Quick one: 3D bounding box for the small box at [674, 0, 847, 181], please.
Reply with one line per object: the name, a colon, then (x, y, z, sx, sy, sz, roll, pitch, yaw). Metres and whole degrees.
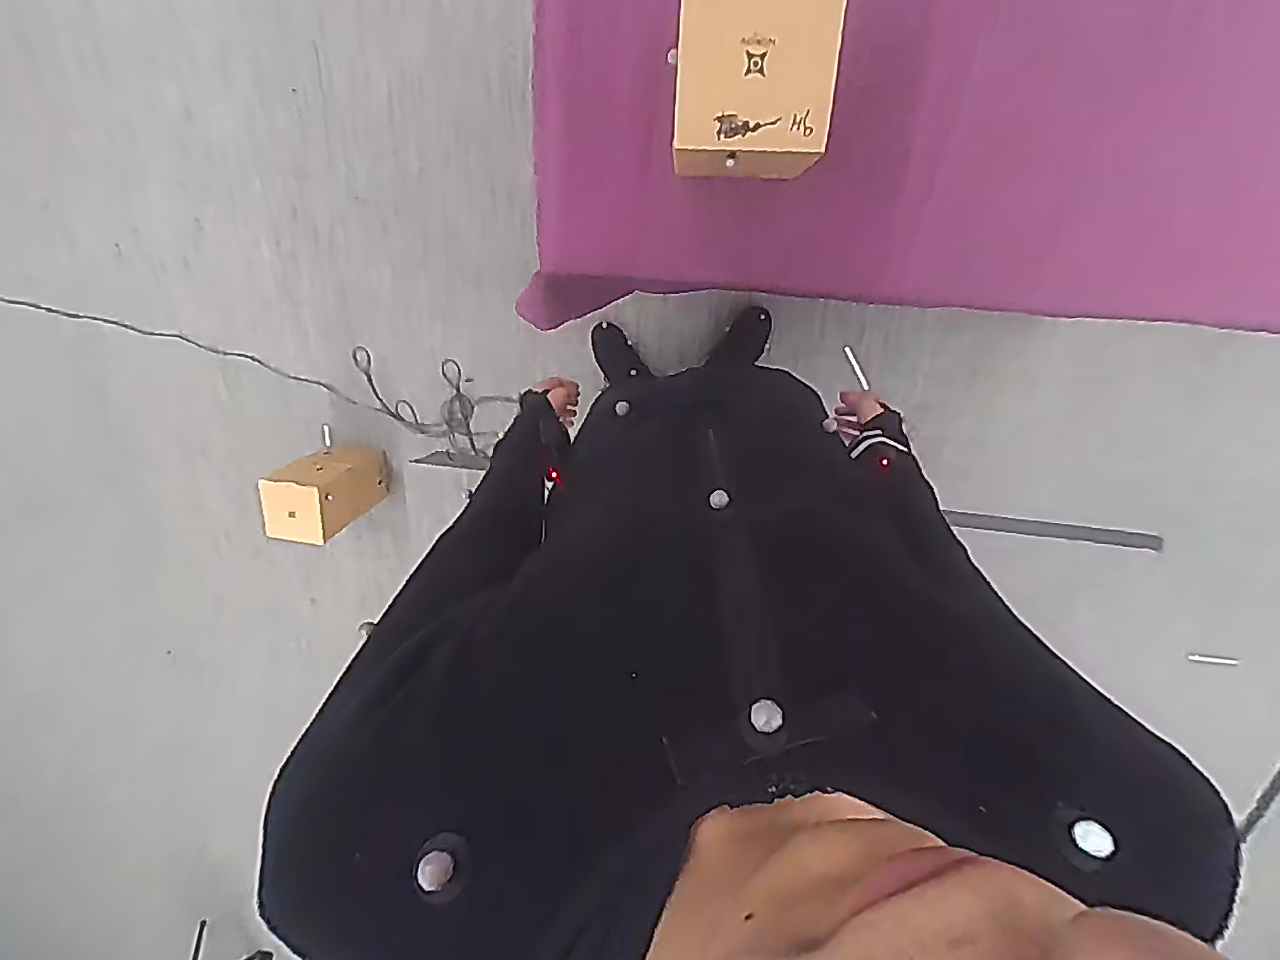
small box: (0.127, -0.465, 0.629, 0.168, 0.176, 0.179, 4, 111, 3)

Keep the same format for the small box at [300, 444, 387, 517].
small box: (-0.913, -0.004, 1.674, 0.179, 0.176, 0.168, 7, 112, 2)

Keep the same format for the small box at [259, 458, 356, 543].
small box: (-0.925, 0.054, 1.523, 0.168, 0.176, 0.179, 8, 112, 2)
